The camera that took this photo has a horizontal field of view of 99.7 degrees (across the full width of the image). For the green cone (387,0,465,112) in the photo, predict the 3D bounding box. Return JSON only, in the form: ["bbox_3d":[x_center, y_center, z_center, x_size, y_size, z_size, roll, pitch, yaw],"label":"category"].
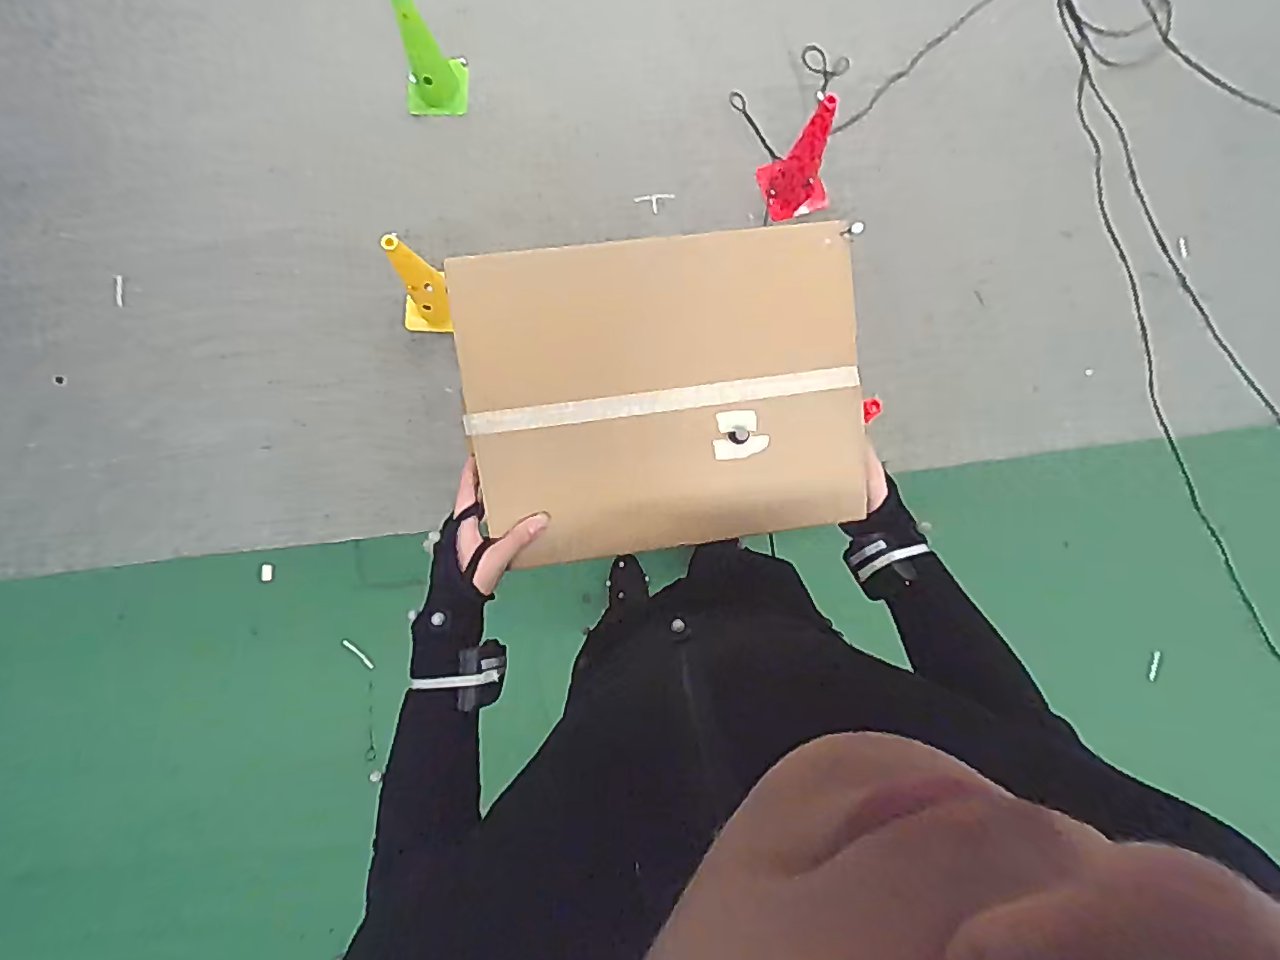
[{"bbox_3d":[-0.684,-1.338,1.630,0.200,0.368,0.202,-1,85,0],"label":"green cone"}]

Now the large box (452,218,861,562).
[{"bbox_3d":[0.013,-0.110,0.706,0.408,0.320,0.320,-8,99,-5],"label":"large box"}]
